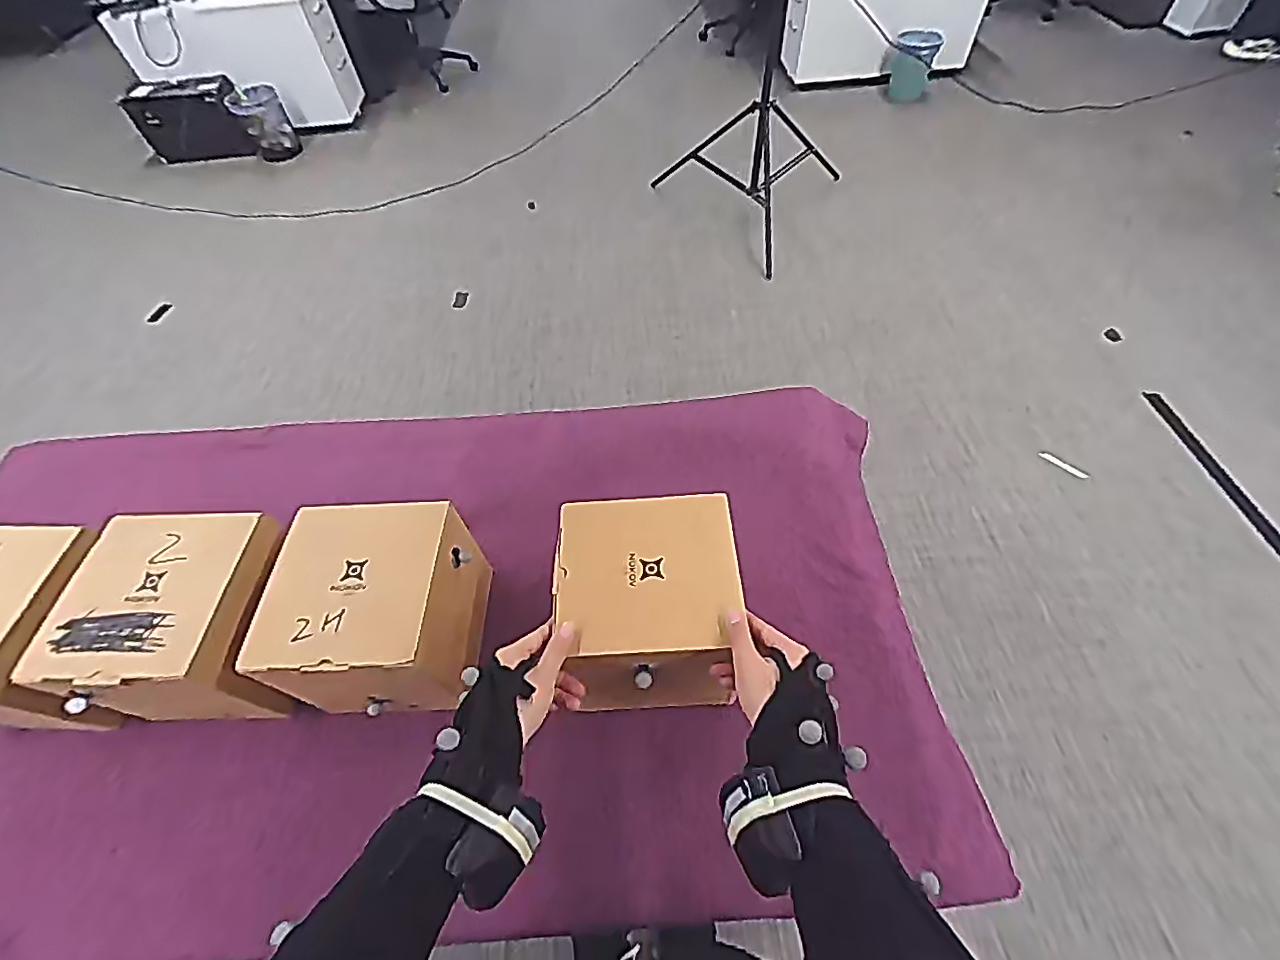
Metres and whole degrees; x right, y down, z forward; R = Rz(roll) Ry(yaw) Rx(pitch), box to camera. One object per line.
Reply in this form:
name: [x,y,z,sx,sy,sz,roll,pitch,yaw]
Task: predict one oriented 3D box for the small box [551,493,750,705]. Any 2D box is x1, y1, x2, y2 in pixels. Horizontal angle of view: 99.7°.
small box: [0.012,0.132,0.578,0.179,0.176,0.168,-4,53,3]
